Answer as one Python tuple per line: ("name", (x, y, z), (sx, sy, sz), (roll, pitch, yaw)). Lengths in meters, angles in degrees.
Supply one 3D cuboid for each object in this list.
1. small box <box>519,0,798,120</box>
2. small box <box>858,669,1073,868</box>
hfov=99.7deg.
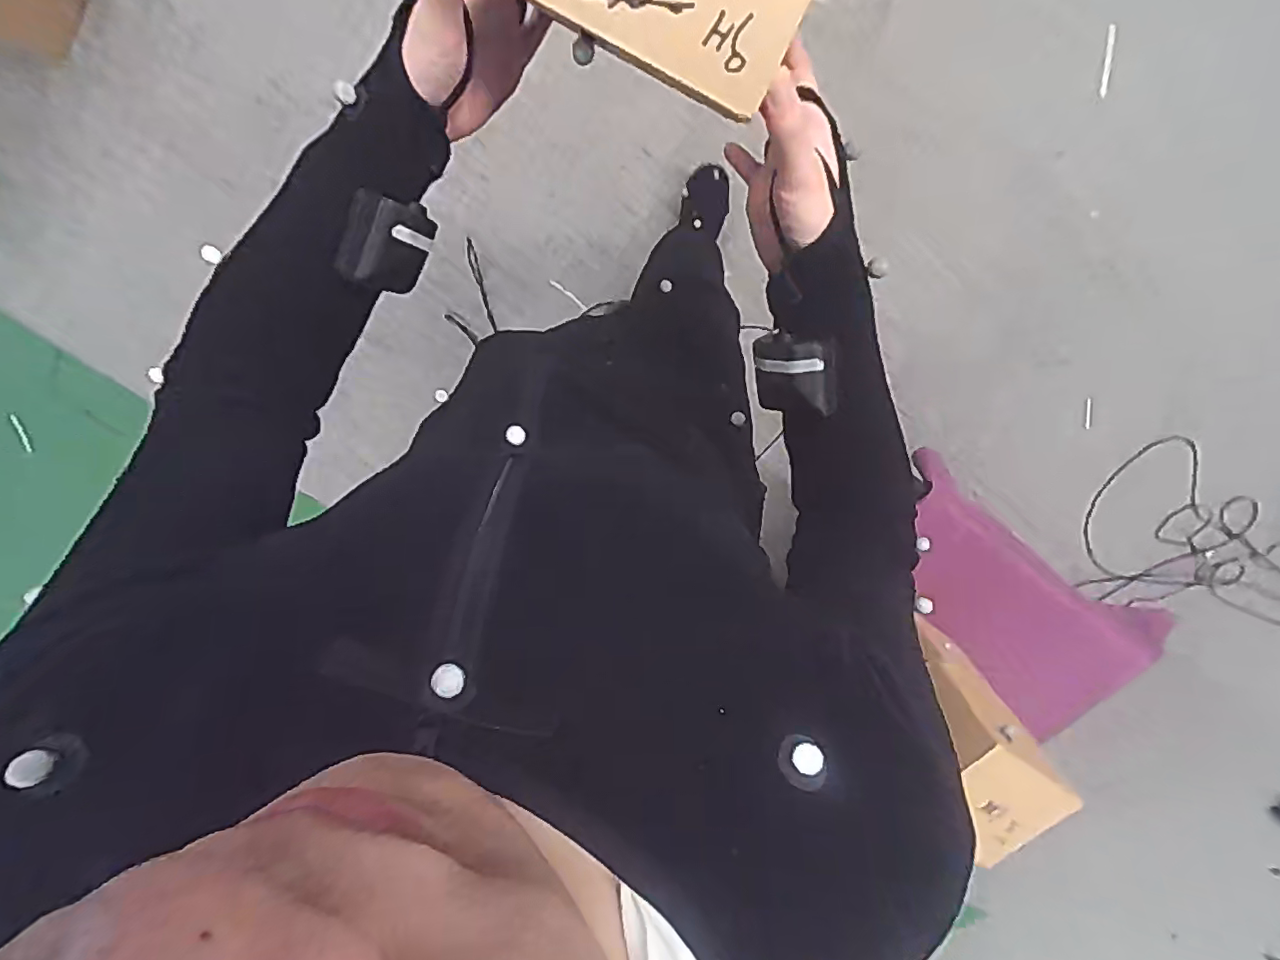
("small box", (0.024, -0.334, 0.302), (0.168, 0.176, 0.179), (23, 123, -7))
("small box", (0.459, 0.411, 0.796), (0.179, 0.176, 0.168), (35, 108, -12))
